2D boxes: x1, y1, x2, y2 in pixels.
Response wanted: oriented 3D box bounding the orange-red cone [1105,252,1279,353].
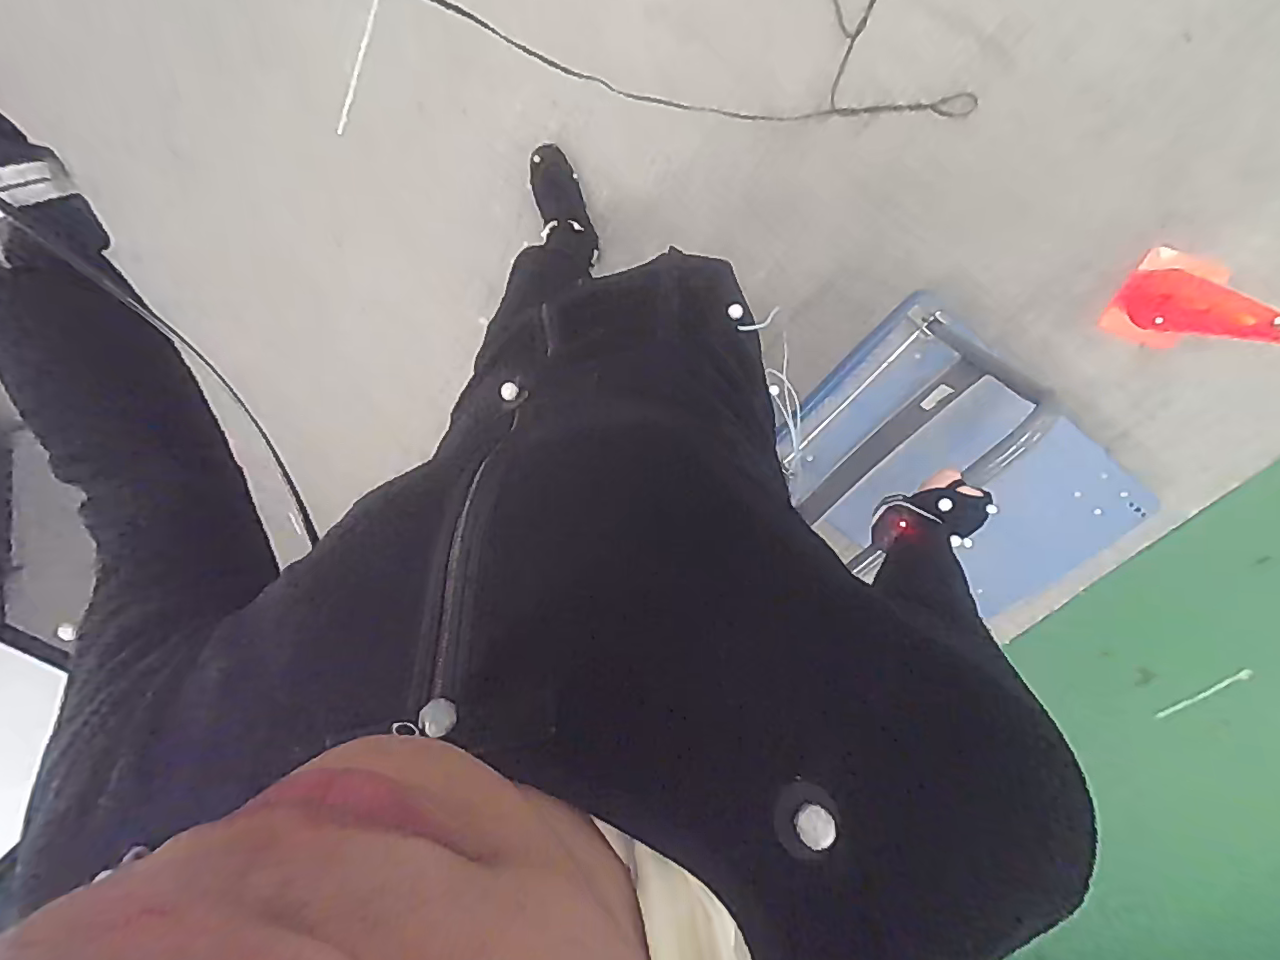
[{"bbox_3d":[1.241,-0.344,1.146,0.198,0.360,0.199,20,118,-3],"label":"orange-red cone"}]
